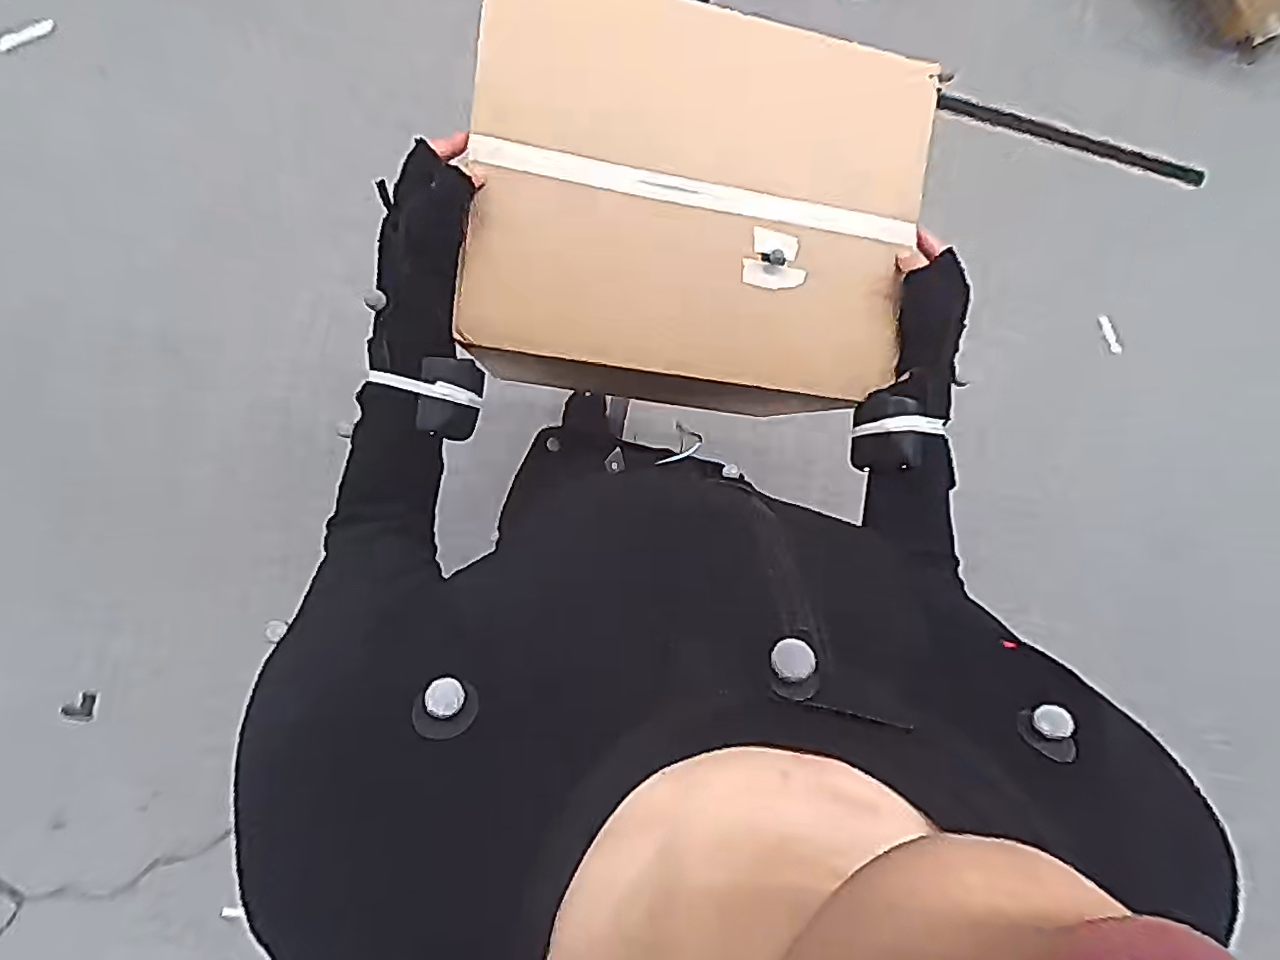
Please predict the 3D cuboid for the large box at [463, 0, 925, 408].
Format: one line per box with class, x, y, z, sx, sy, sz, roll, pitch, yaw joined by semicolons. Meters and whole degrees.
large box;0.032;-0.267;0.630;0.408;0.320;0.320;7;95;-11
